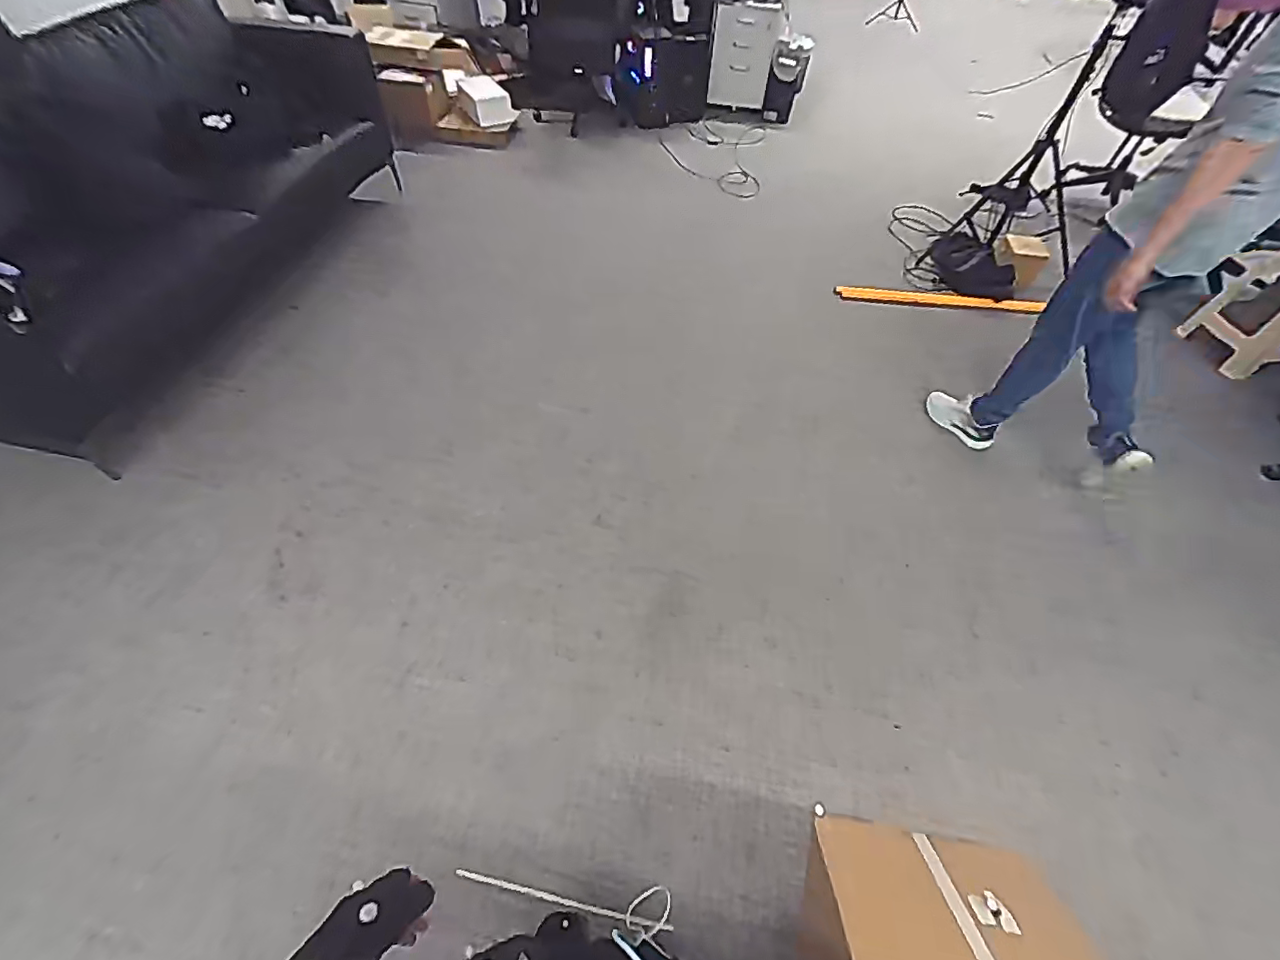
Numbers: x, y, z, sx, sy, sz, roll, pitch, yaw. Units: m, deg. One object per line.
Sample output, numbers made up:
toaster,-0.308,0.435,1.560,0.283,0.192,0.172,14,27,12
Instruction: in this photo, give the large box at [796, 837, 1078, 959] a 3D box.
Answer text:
large box,0.383,0.741,0.654,0.320,0.408,0.320,8,94,6
